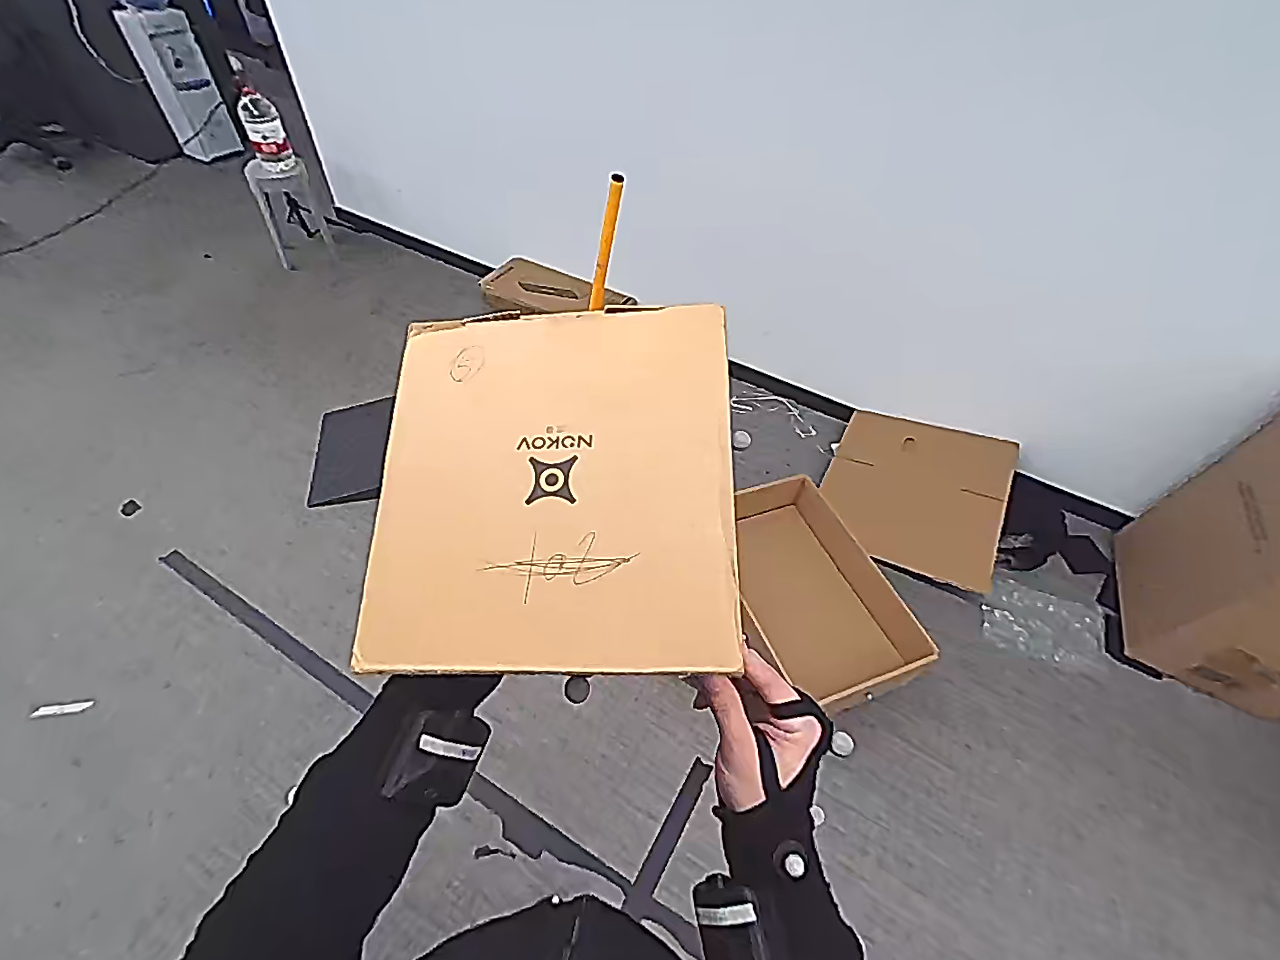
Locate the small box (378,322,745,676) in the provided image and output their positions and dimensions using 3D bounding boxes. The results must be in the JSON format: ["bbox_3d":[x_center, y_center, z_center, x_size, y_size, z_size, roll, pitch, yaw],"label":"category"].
[{"bbox_3d":[-0.028,0.027,0.336,0.168,0.176,0.179,-2,71,7],"label":"small box"}]
